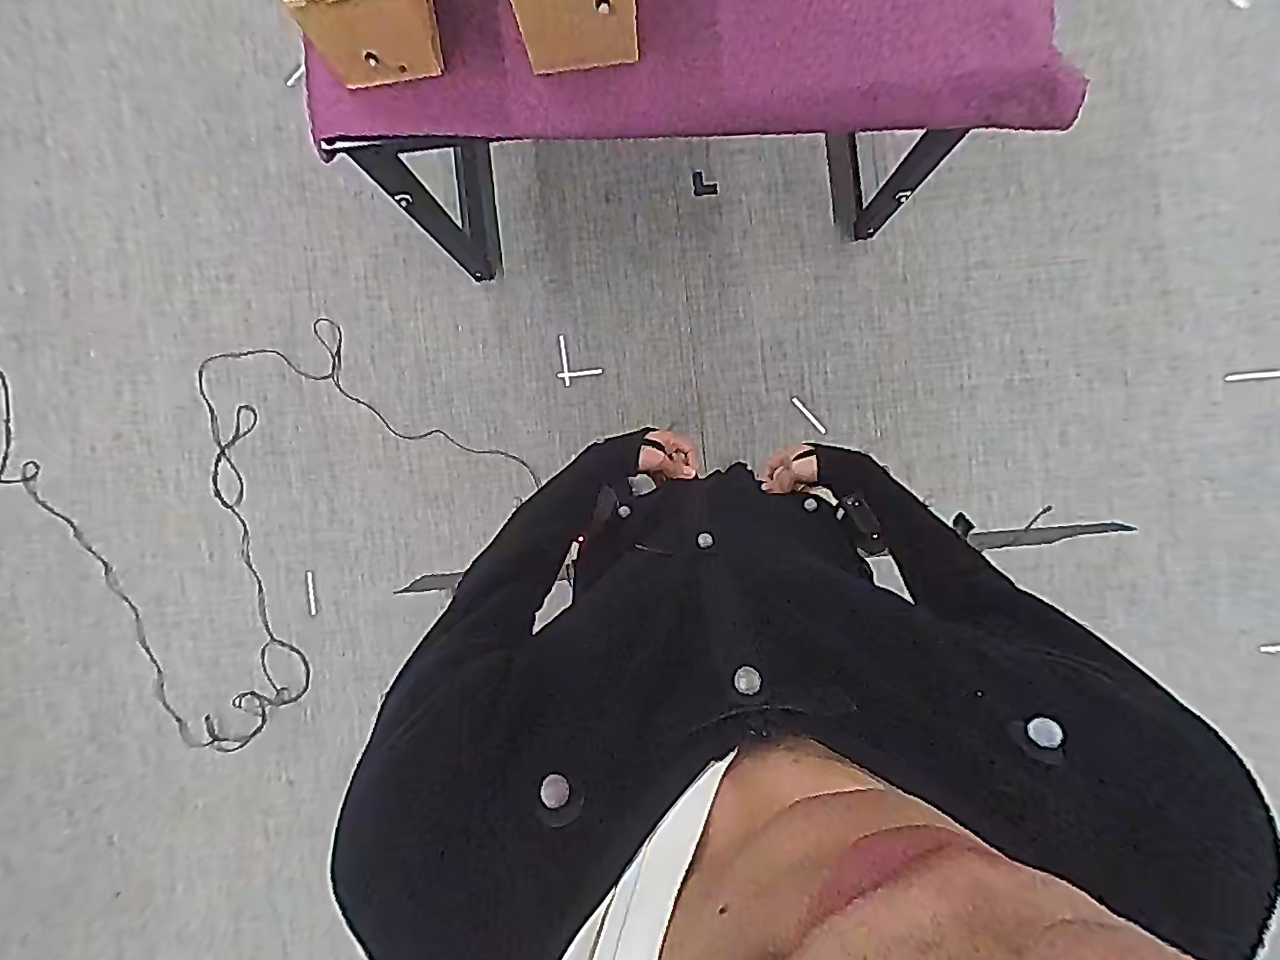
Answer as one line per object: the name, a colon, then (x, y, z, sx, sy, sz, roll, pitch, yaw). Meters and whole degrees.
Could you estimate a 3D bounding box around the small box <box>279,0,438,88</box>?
small box: (-0.424, -0.743, 0.814, 0.168, 0.176, 0.179, -9, 92, 0)

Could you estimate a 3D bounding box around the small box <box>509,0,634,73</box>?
small box: (-0.101, -0.752, 0.803, 0.179, 0.176, 0.168, -6, 91, 3)
